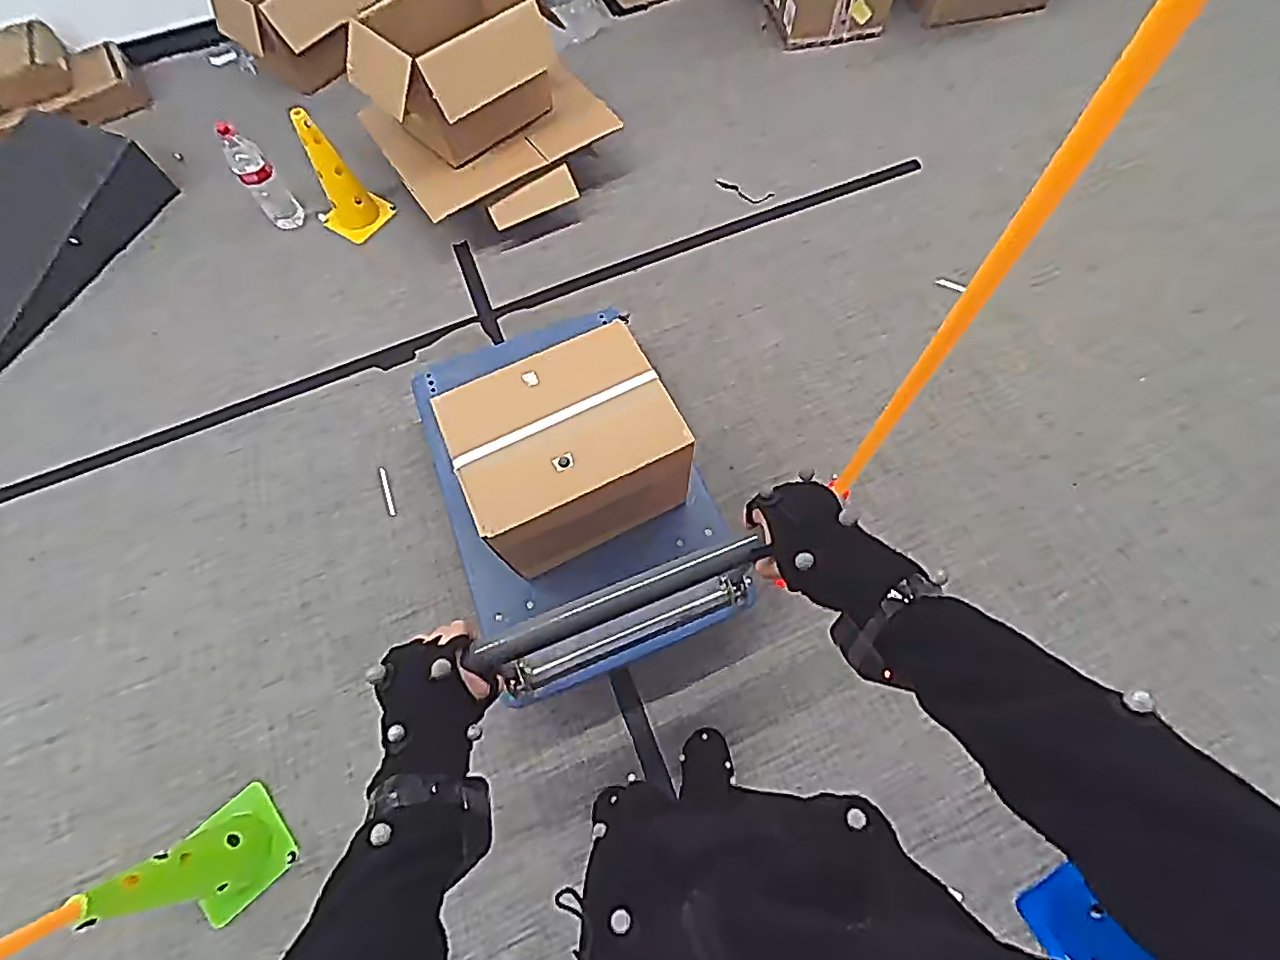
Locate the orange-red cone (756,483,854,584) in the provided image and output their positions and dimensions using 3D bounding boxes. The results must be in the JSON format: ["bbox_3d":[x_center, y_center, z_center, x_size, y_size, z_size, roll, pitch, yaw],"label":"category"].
[{"bbox_3d":[0.408,0.087,1.222,0.199,0.360,0.198,-16,68,-5],"label":"orange-red cone"}]

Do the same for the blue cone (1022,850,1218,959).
[{"bbox_3d":[0.875,0.808,0.917,0.193,0.380,0.192,-26,67,-9],"label":"blue cone"}]
